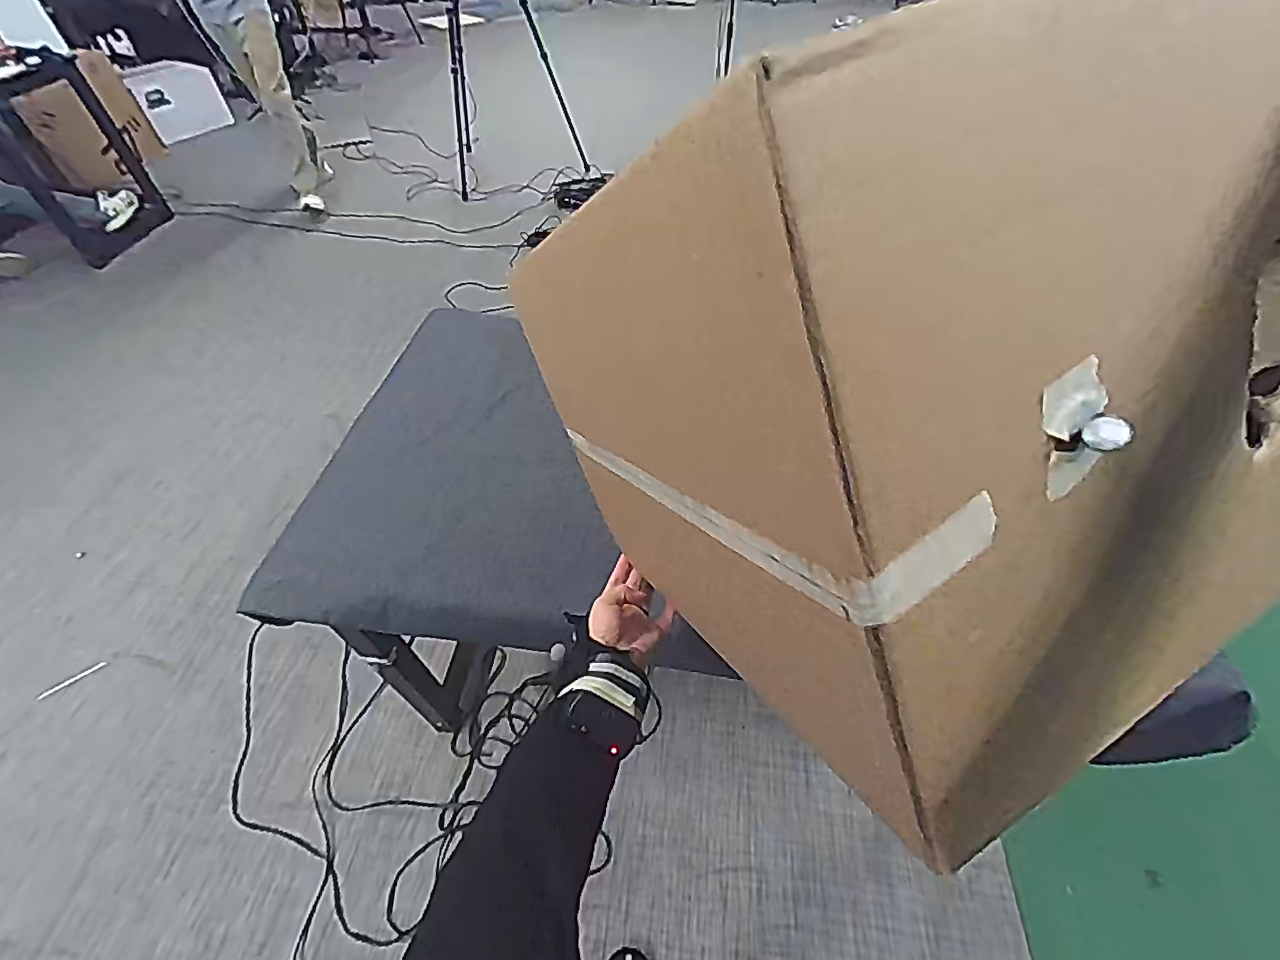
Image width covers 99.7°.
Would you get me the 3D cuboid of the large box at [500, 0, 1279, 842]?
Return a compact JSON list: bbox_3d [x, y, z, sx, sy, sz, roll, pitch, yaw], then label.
[{"bbox_3d":[0.131,-0.070,0.400,0.320,0.320,0.408,-28,22,-16],"label":"large box"}]
